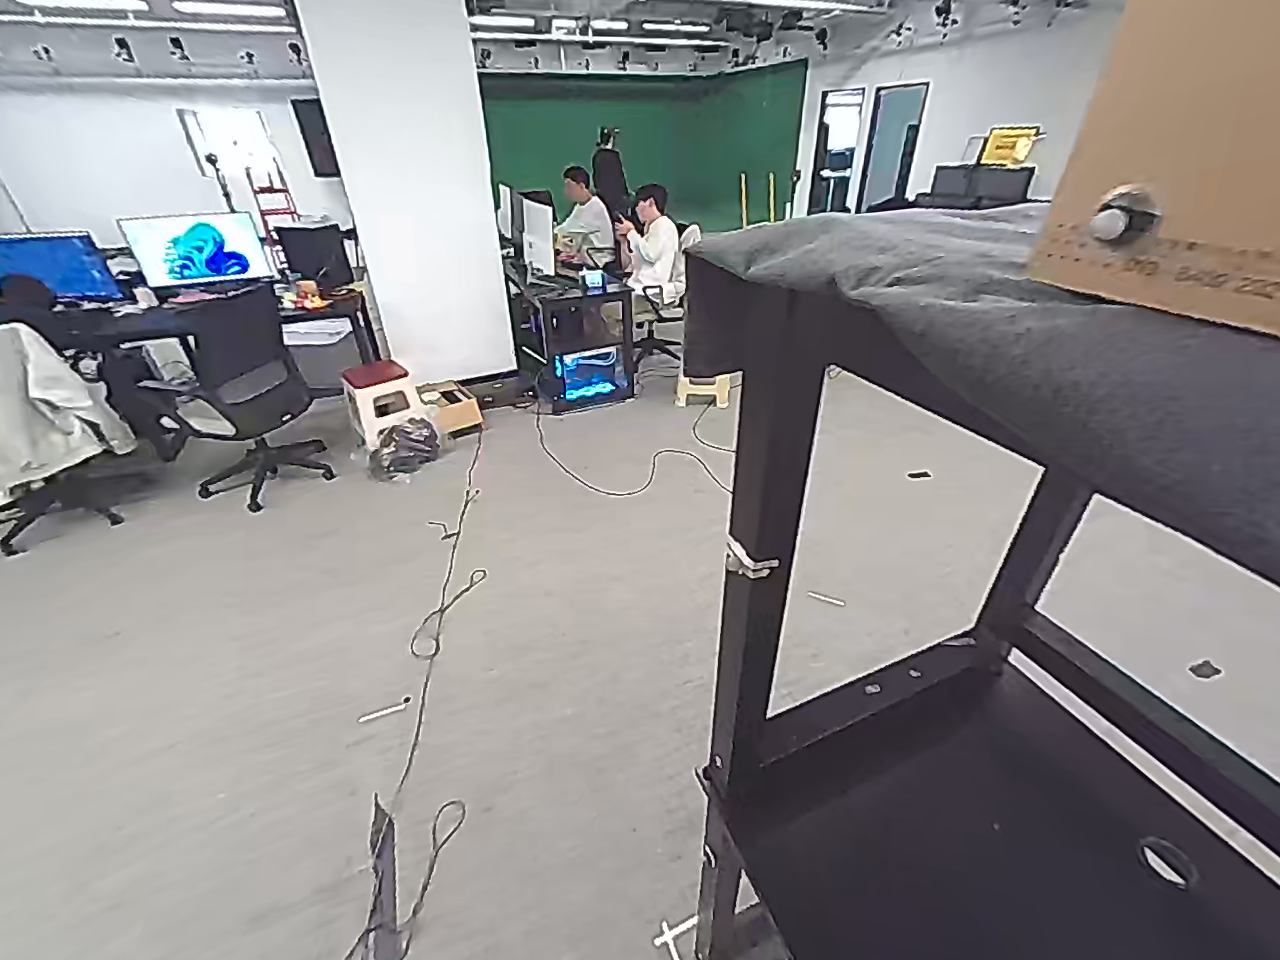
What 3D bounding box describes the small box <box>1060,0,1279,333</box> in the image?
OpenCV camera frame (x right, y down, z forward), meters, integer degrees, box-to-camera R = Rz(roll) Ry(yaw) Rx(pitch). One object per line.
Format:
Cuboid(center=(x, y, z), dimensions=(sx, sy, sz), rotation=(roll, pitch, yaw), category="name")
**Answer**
Cuboid(center=(0.303, -0.147, 0.196), dimensions=(0.179, 0.176, 0.168), rotation=(-14, 36, -22), category="small box")
